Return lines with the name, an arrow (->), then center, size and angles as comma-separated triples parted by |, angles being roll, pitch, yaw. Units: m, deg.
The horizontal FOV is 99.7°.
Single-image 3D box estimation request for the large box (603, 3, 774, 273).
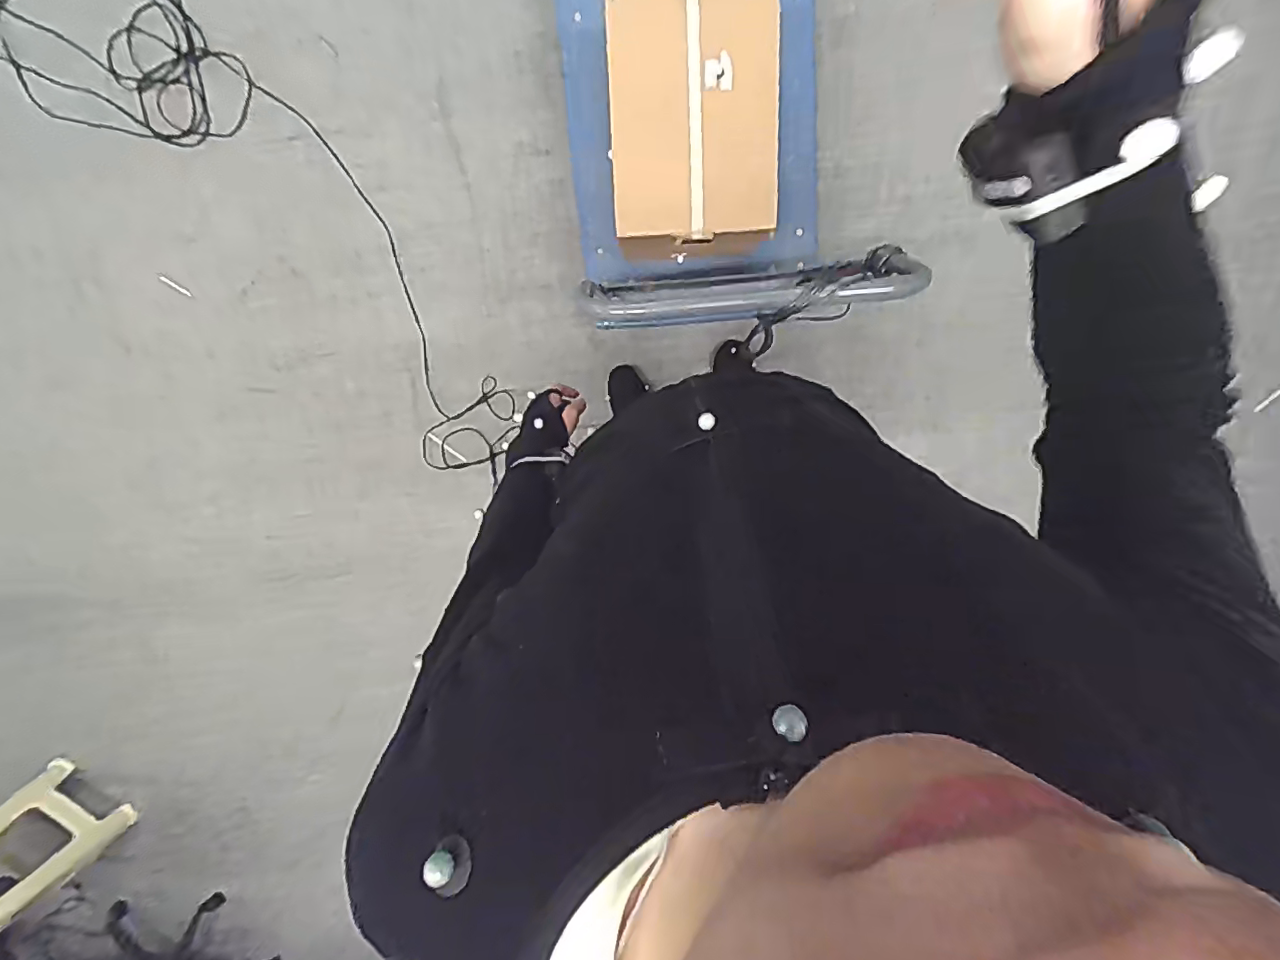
large box -> 0.101, -0.689, 1.163 | 0.320, 0.320, 0.408 | -2, 102, 1
